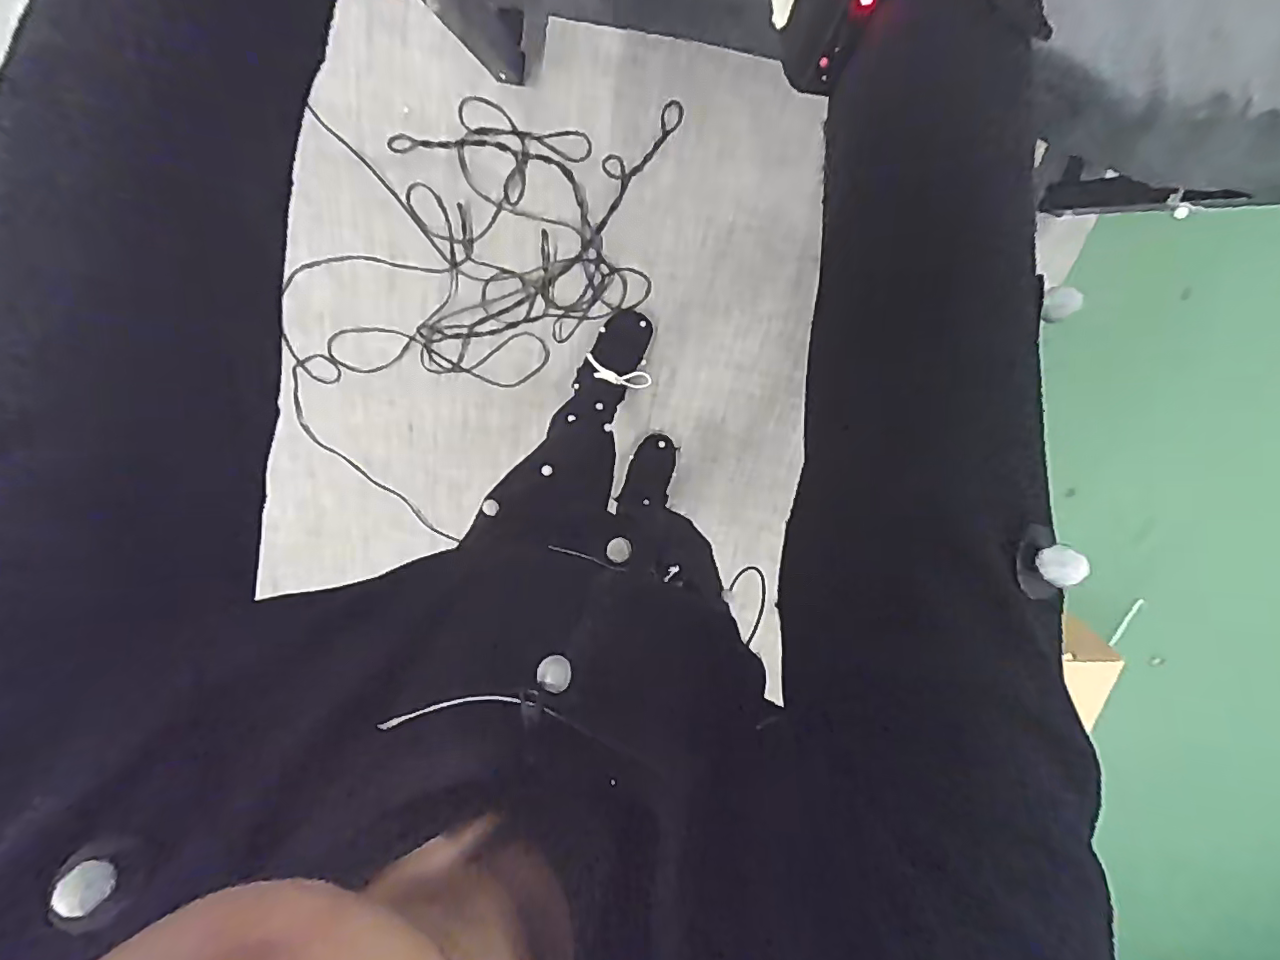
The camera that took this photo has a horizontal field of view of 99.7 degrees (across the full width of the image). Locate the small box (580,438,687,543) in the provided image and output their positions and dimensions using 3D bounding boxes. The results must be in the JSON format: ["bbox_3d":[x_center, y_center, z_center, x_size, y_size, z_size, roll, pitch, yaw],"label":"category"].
[{"bbox_3d":[-0.012,0.030,1.247,0.176,0.168,0.179,-12,121,25],"label":"small box"}]
